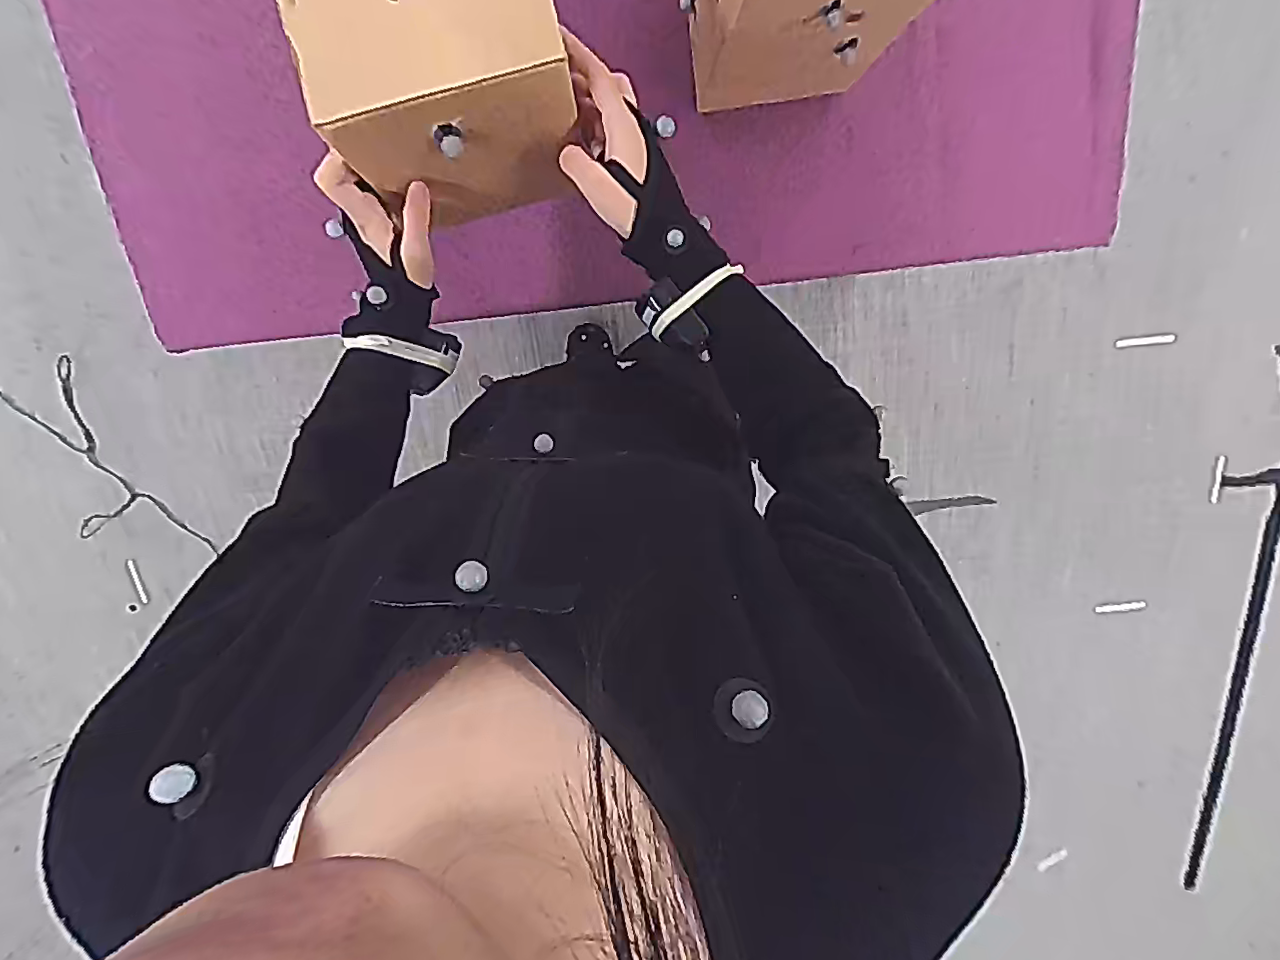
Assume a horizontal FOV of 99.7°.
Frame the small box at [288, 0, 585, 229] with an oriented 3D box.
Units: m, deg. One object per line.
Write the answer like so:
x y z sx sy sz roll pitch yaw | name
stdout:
-0.147 -0.334 0.438 0.179 0.176 0.168 -14 90 2 | small box

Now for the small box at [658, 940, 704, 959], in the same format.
0.160 1.822 1.972 0.168 0.176 0.179 -8 107 2 | small box

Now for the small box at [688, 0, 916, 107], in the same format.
0.144 -0.497 0.527 0.179 0.176 0.168 -7 105 2 | small box
